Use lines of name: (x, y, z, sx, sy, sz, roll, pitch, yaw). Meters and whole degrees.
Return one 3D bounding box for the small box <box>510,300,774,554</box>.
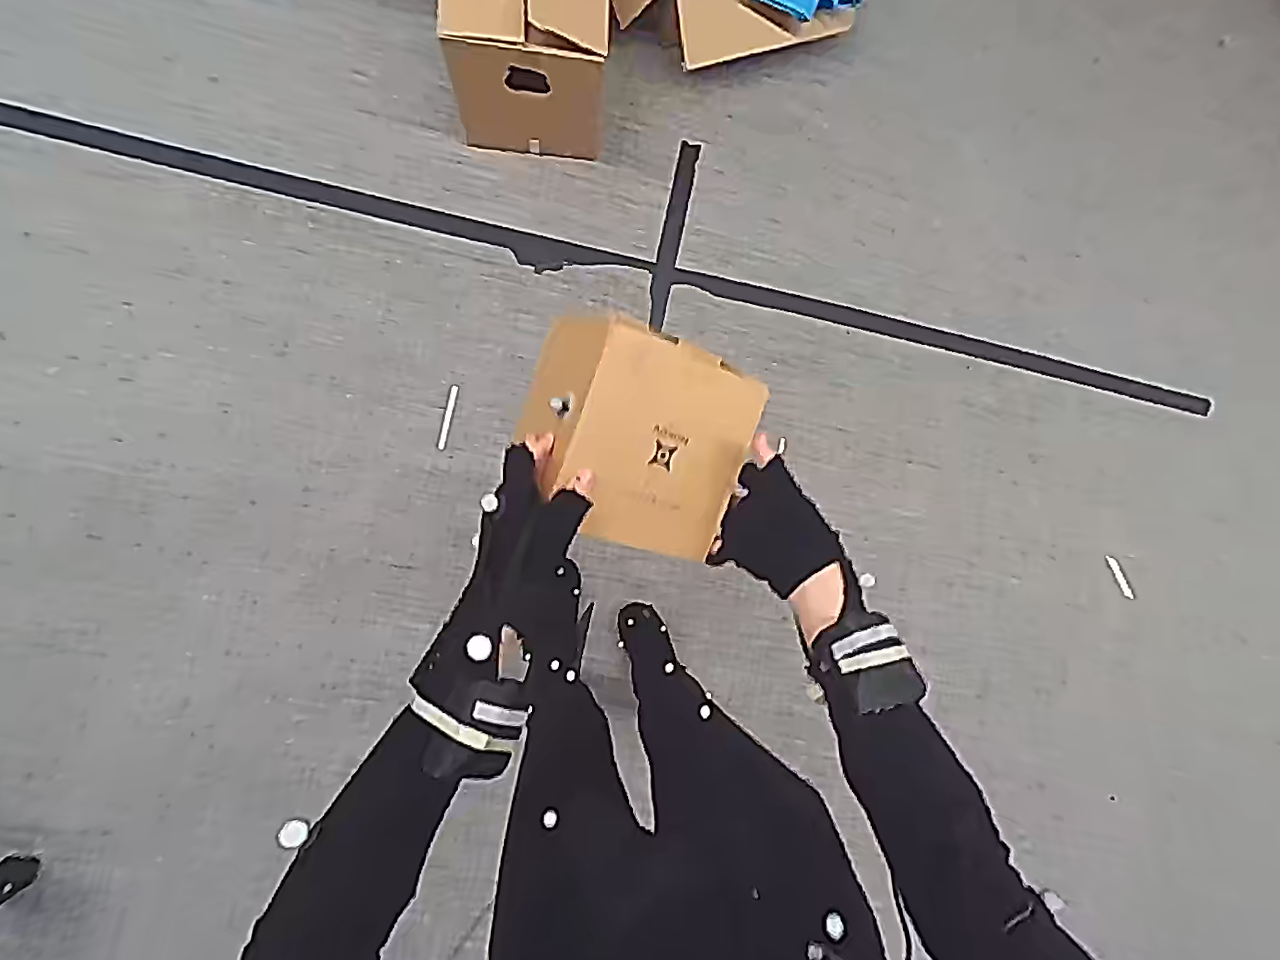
small box: (-0.010, -0.053, 0.518, 0.168, 0.176, 0.179, 17, 97, -28)
